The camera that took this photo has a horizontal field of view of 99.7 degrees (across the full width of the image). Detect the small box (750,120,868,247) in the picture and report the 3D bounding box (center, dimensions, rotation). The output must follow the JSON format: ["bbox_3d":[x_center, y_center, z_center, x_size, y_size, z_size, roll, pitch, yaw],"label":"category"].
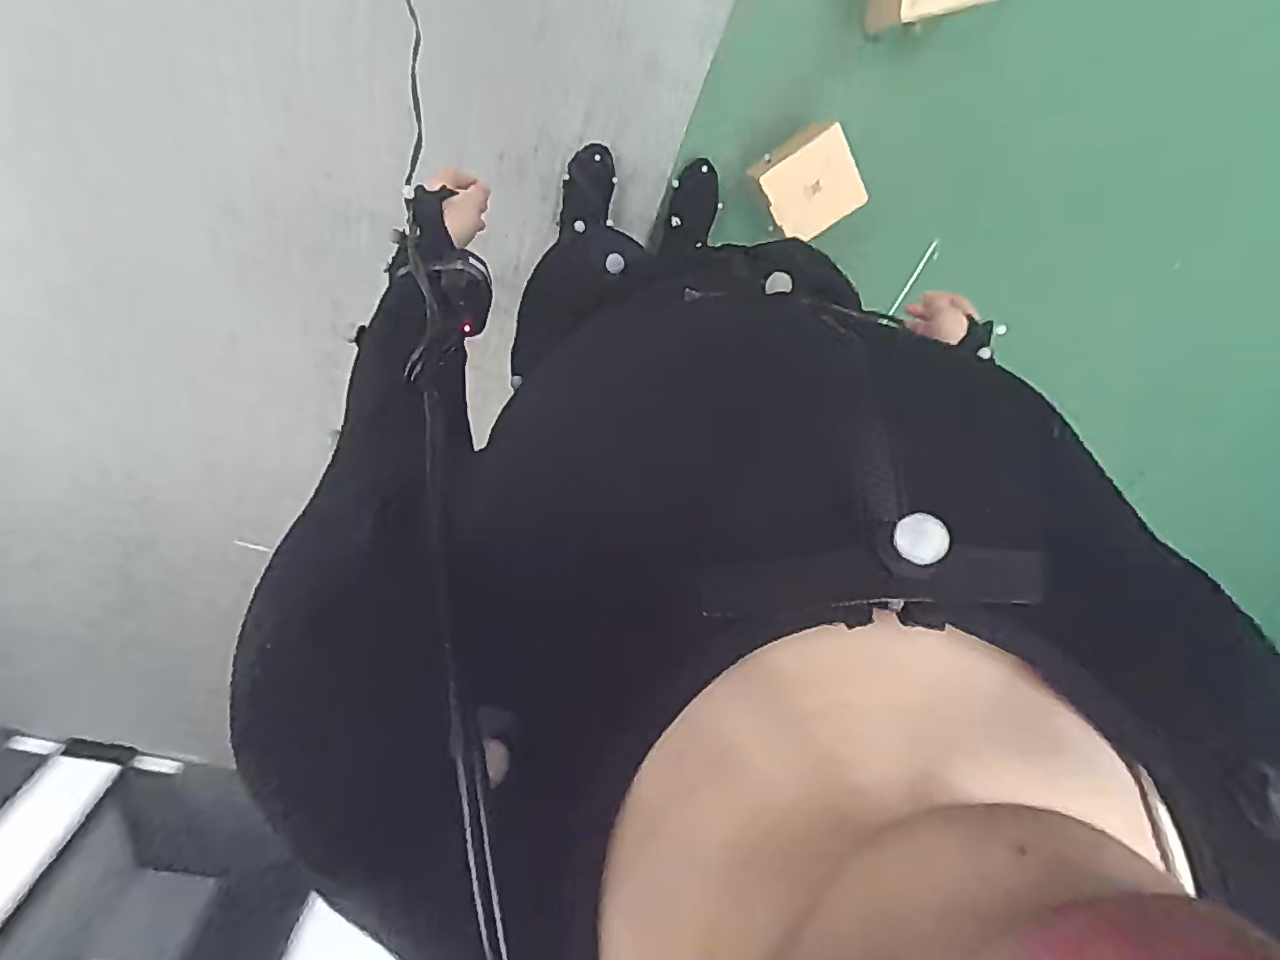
[{"bbox_3d":[0.350,-0.633,1.157,0.179,0.176,0.168,-30,120,17],"label":"small box"}]

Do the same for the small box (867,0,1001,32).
[{"bbox_3d":[0.529,-0.929,0.964,0.179,0.176,0.168,-9,123,4],"label":"small box"}]
